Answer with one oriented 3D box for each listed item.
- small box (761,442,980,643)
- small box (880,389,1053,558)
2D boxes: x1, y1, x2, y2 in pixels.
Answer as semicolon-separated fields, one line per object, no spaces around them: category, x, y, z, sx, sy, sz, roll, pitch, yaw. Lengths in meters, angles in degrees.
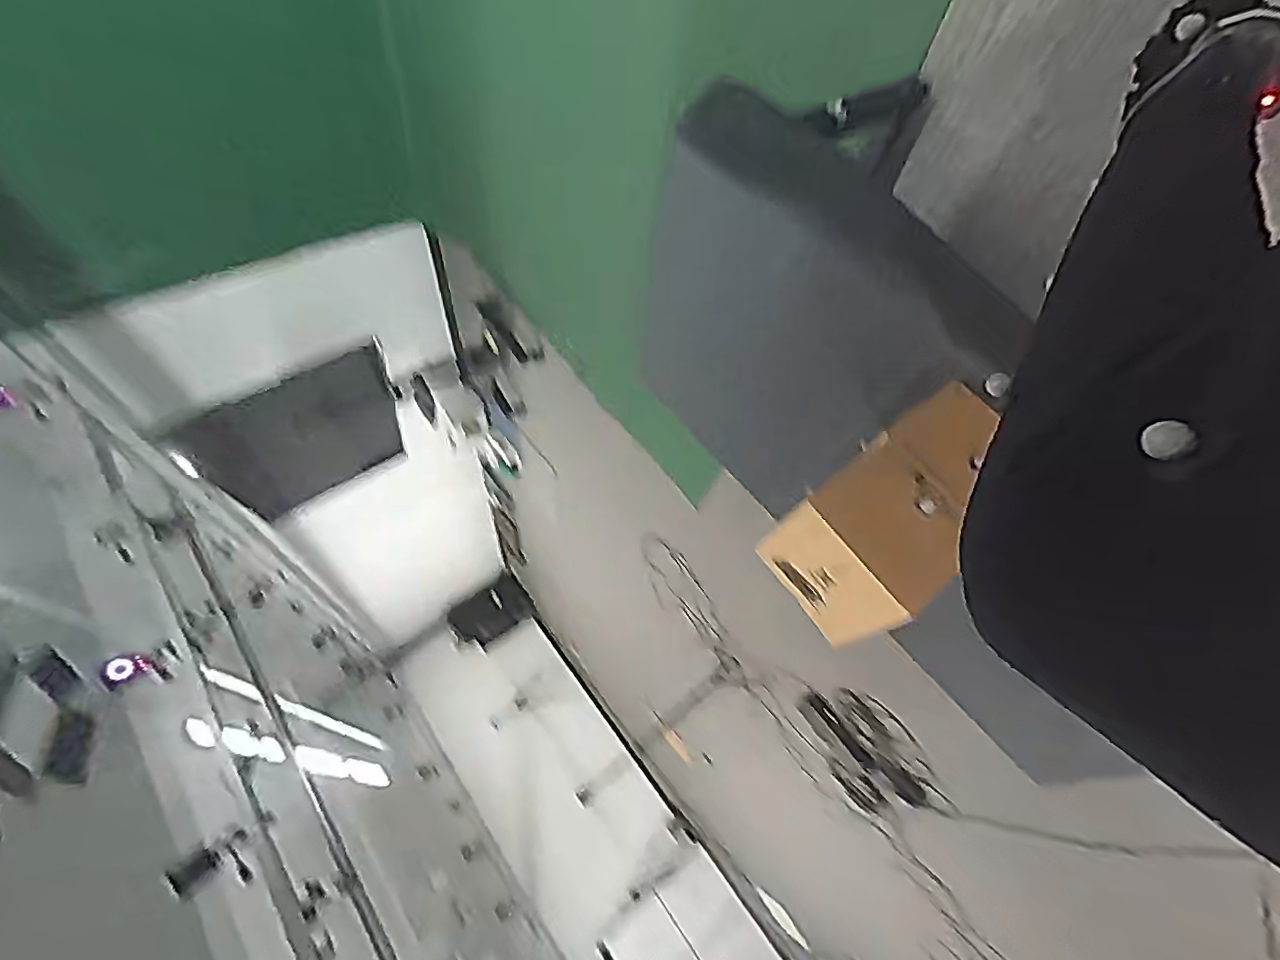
small box;0.293;0.084;0.710;0.168;0.176;0.179;50;158;19
small box;0.425;0.003;0.768;0.179;0.176;0.168;50;156;18
